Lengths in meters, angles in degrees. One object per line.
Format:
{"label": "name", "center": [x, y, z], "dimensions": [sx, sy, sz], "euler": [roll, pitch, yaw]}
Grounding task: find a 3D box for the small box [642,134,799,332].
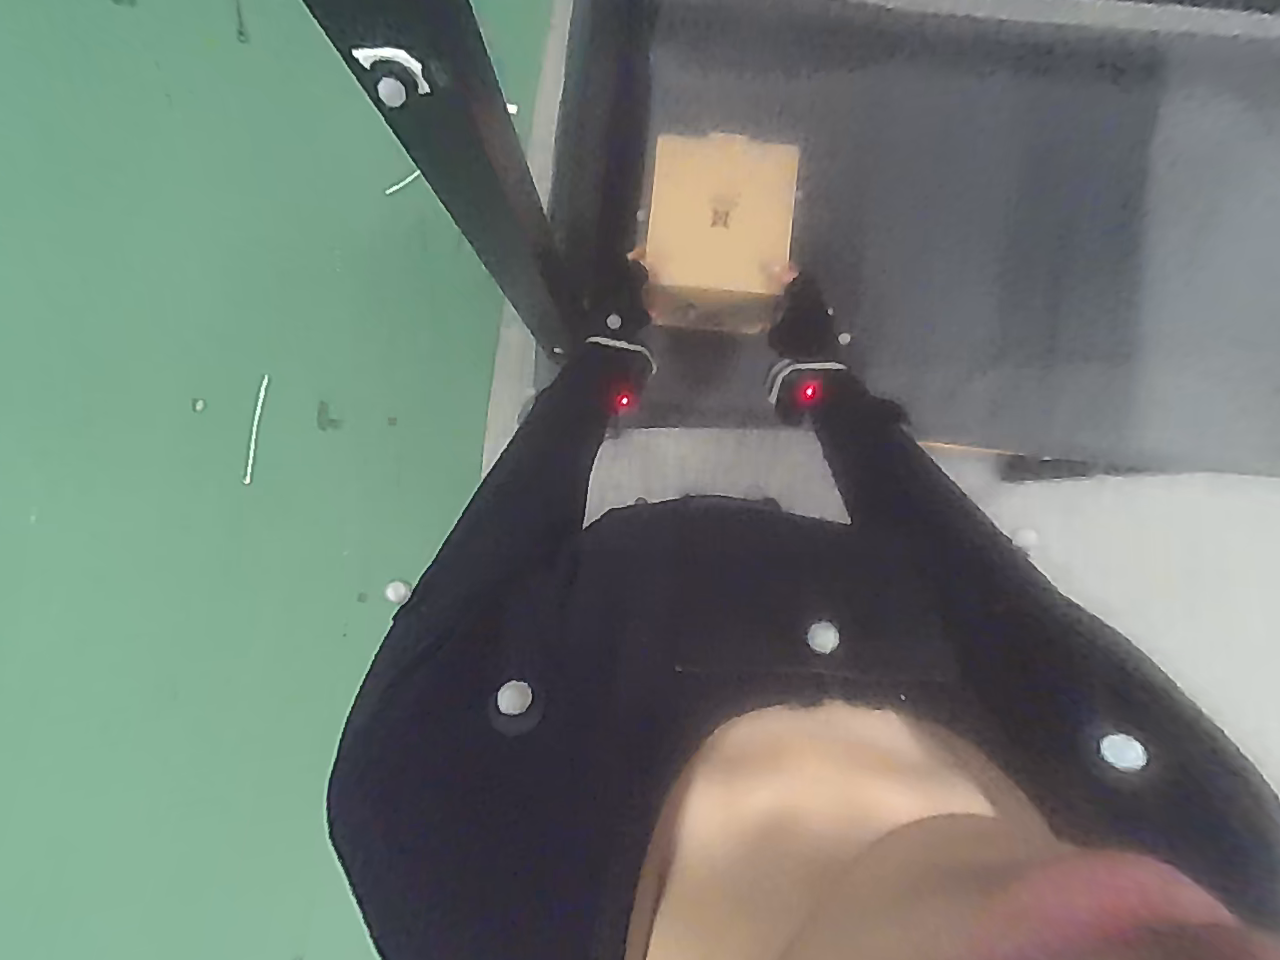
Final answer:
{"label": "small box", "center": [0.095, -0.302, 0.696], "dimensions": [0.168, 0.176, 0.179], "euler": [5, 88, 2]}
